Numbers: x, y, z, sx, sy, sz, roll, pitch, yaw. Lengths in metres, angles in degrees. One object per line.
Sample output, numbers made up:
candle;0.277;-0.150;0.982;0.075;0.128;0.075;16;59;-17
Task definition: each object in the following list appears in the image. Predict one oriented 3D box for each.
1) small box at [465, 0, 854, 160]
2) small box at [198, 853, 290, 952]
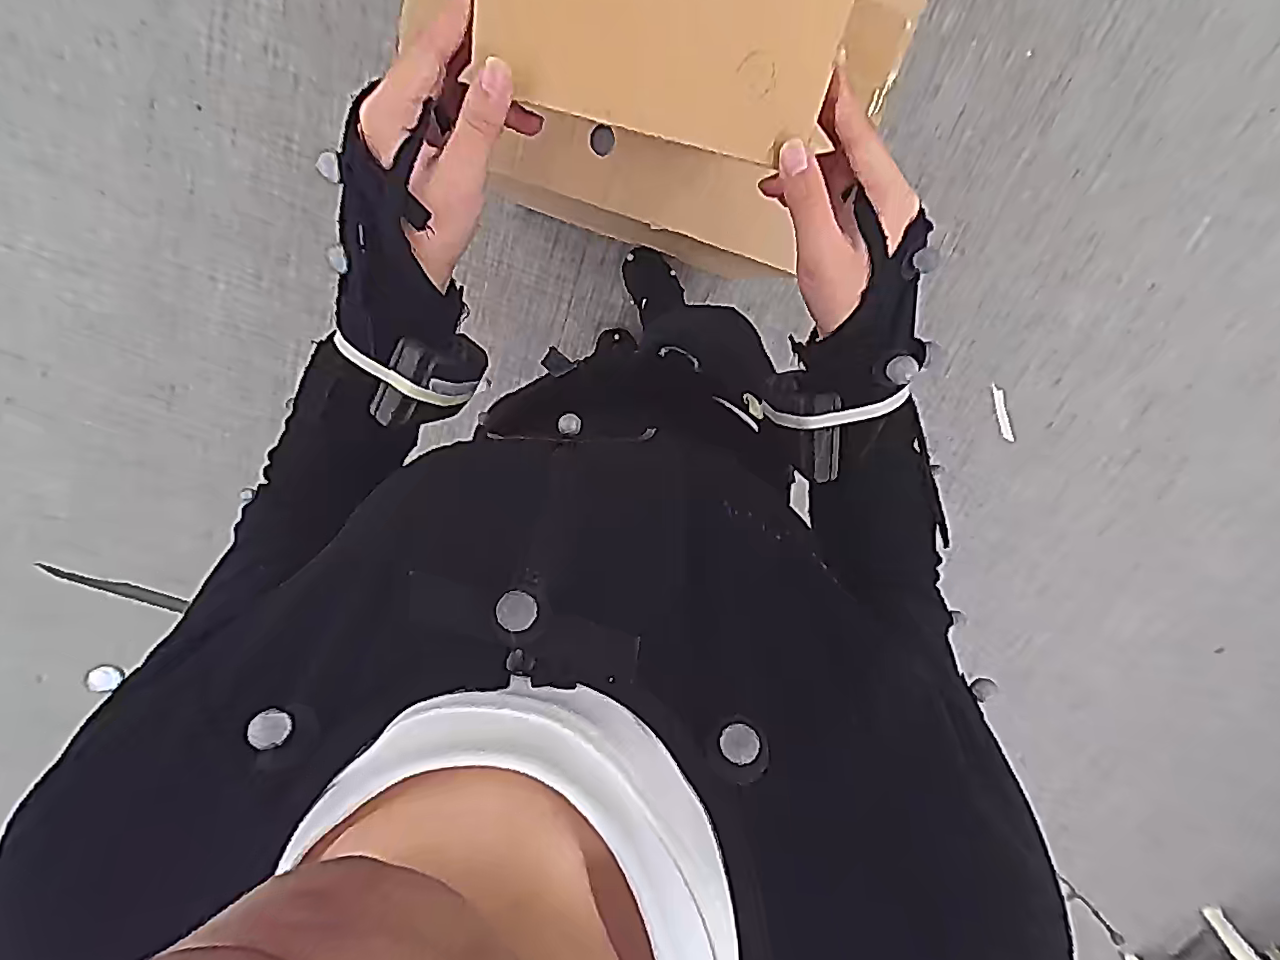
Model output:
small box;0.020;-0.283;0.275;0.168;0.176;0.179;11;121;-6
small box;-1.226;1.310;1.684;0.168;0.176;0.179;19;110;-7
